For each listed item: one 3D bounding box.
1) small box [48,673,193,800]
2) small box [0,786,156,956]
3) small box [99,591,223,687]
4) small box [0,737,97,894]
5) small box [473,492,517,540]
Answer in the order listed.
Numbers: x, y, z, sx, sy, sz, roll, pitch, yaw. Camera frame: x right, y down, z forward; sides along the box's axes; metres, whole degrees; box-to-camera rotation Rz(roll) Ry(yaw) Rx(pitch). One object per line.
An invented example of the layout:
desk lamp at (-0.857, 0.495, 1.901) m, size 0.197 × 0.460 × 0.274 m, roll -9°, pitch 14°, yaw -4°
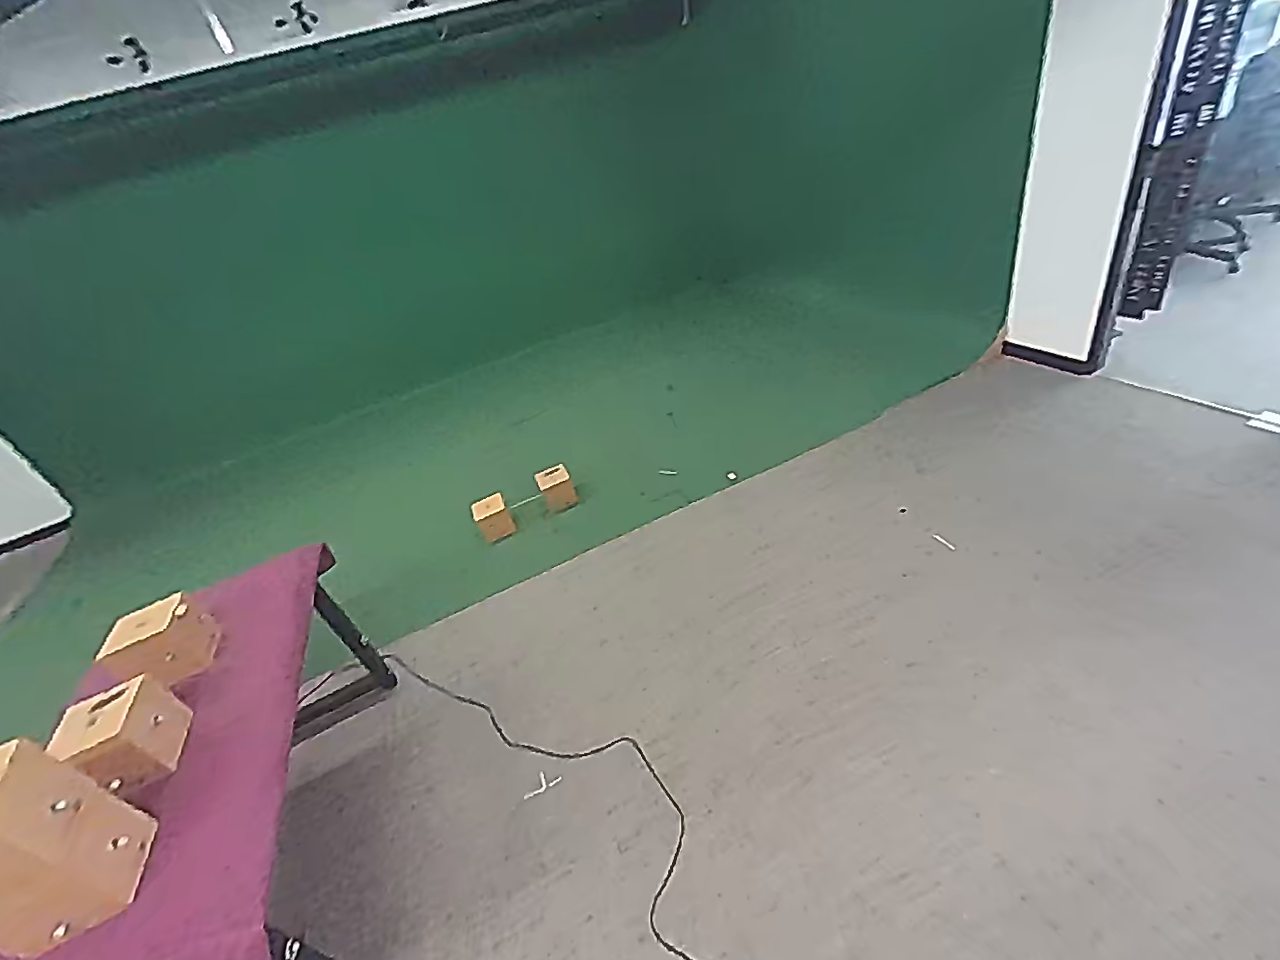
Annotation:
small box at (-1.176, 0.589, 1.235) m, size 0.168 × 0.176 × 0.179 m, roll -25°, pitch 36°, yaw -13°
small box at (-1.063, 0.719, 1.000) m, size 0.179 × 0.176 × 0.168 m, roll -25°, pitch 34°, yaw -13°
small box at (-1.305, 0.449, 1.492) m, size 0.179 × 0.176 × 0.168 m, roll -25°, pitch 34°, yaw -12°
small box at (-1.101, 0.586, 0.911) m, size 0.179 × 0.176 × 0.168 m, roll -25°, pitch 35°, yaw -13°
small box at (-0.782, 0.202, 2.918) m, size 0.168 × 0.176 × 0.179 m, roll -25°, pitch 34°, yaw -12°
